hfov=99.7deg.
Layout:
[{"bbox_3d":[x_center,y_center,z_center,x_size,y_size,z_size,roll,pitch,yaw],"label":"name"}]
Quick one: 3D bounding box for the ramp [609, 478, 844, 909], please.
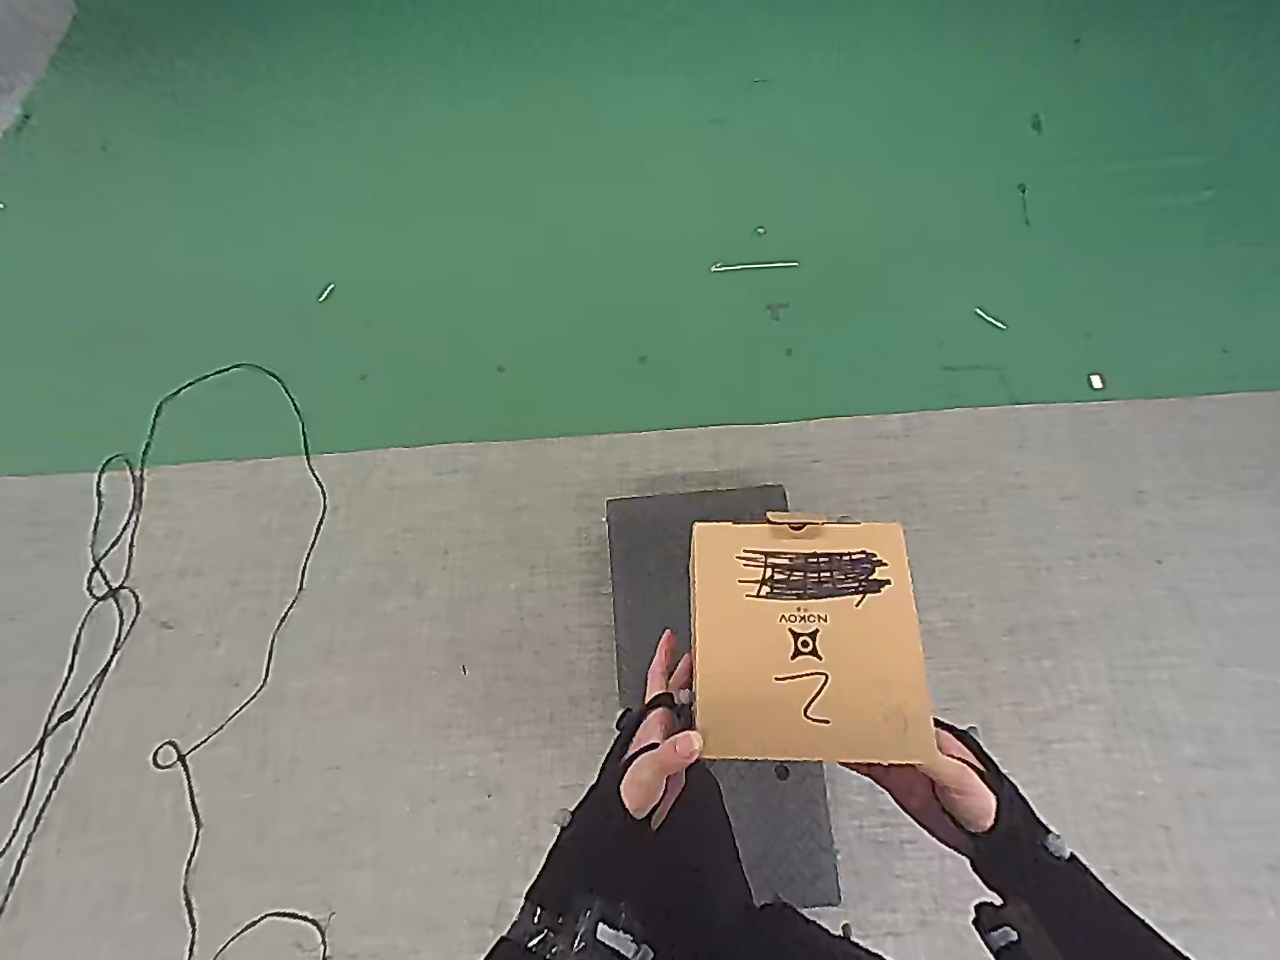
[{"bbox_3d":[0.198,0.499,1.364,0.509,0.206,0.991,-6,68,0],"label":"ramp"}]
